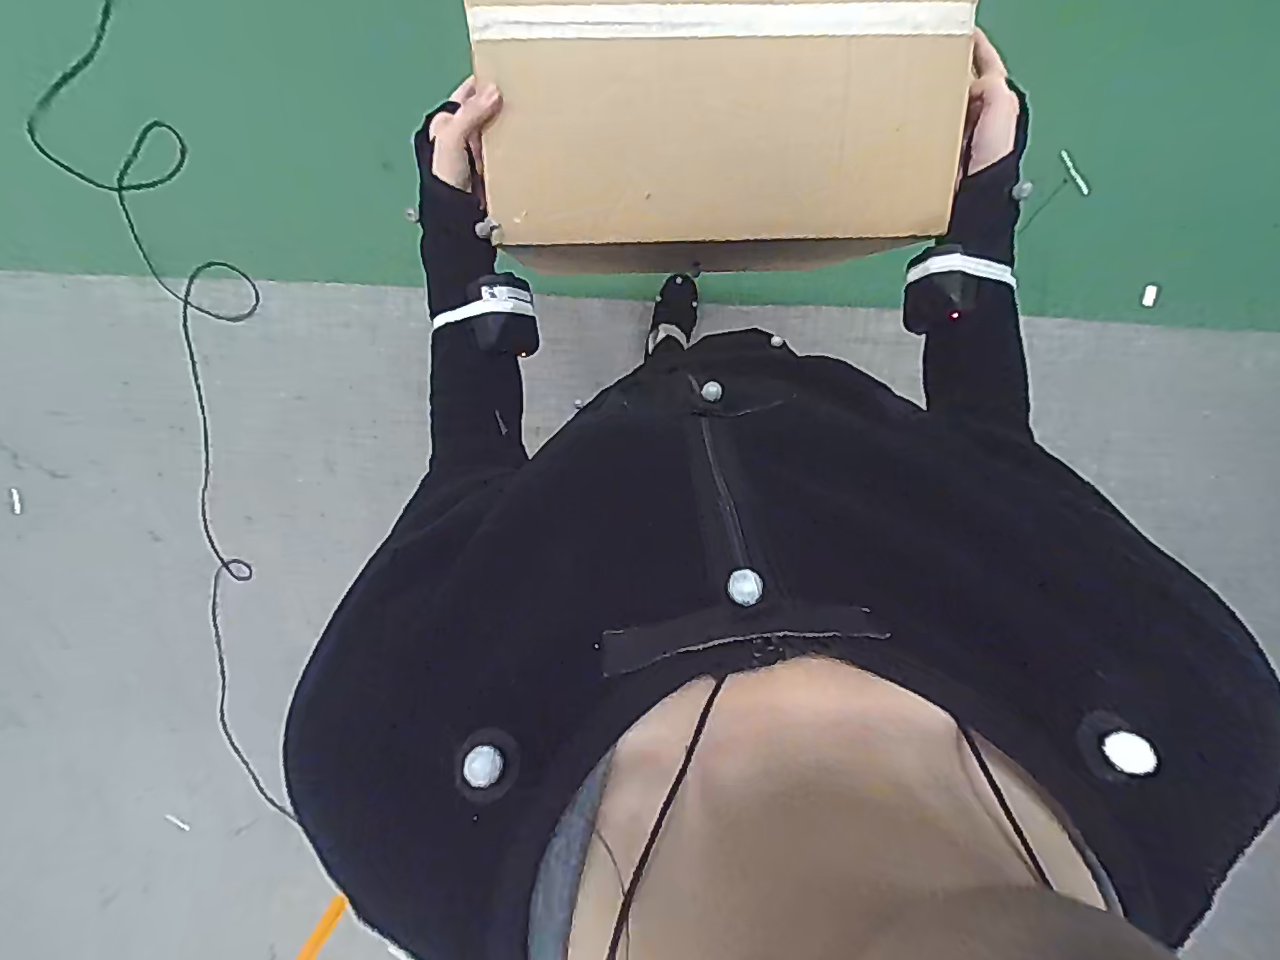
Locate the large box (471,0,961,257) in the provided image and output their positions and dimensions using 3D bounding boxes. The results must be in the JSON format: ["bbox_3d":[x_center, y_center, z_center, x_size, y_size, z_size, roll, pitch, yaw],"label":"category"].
[{"bbox_3d":[0.060,-0.421,0.578,0.408,0.320,0.320,-2,107,-2],"label":"large box"}]
